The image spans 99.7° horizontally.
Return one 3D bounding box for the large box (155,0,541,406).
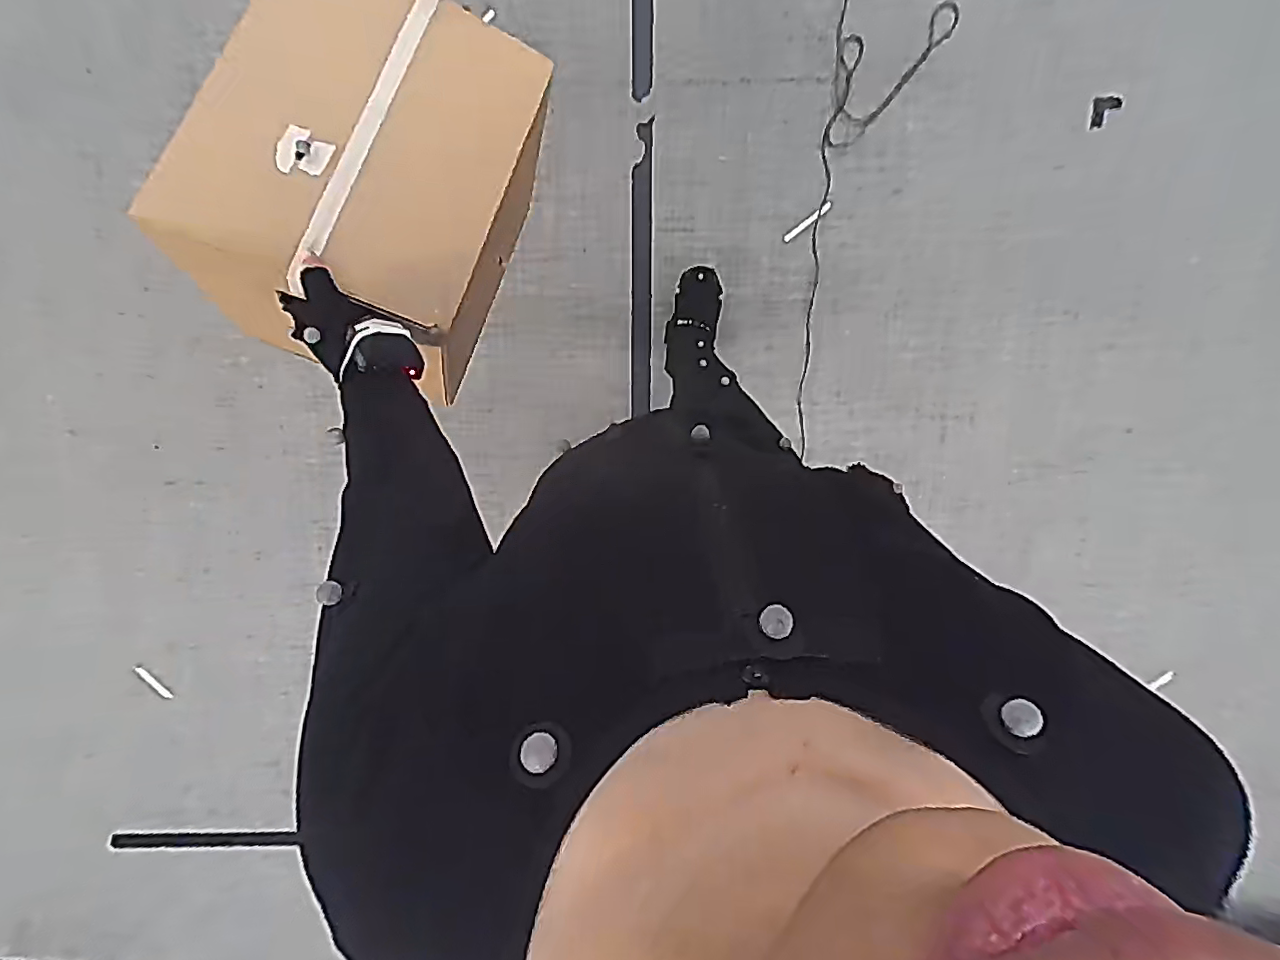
[{"bbox_3d":[-0.362,-0.374,0.779,0.320,0.320,0.408,18,76,-14],"label":"large box"}]
